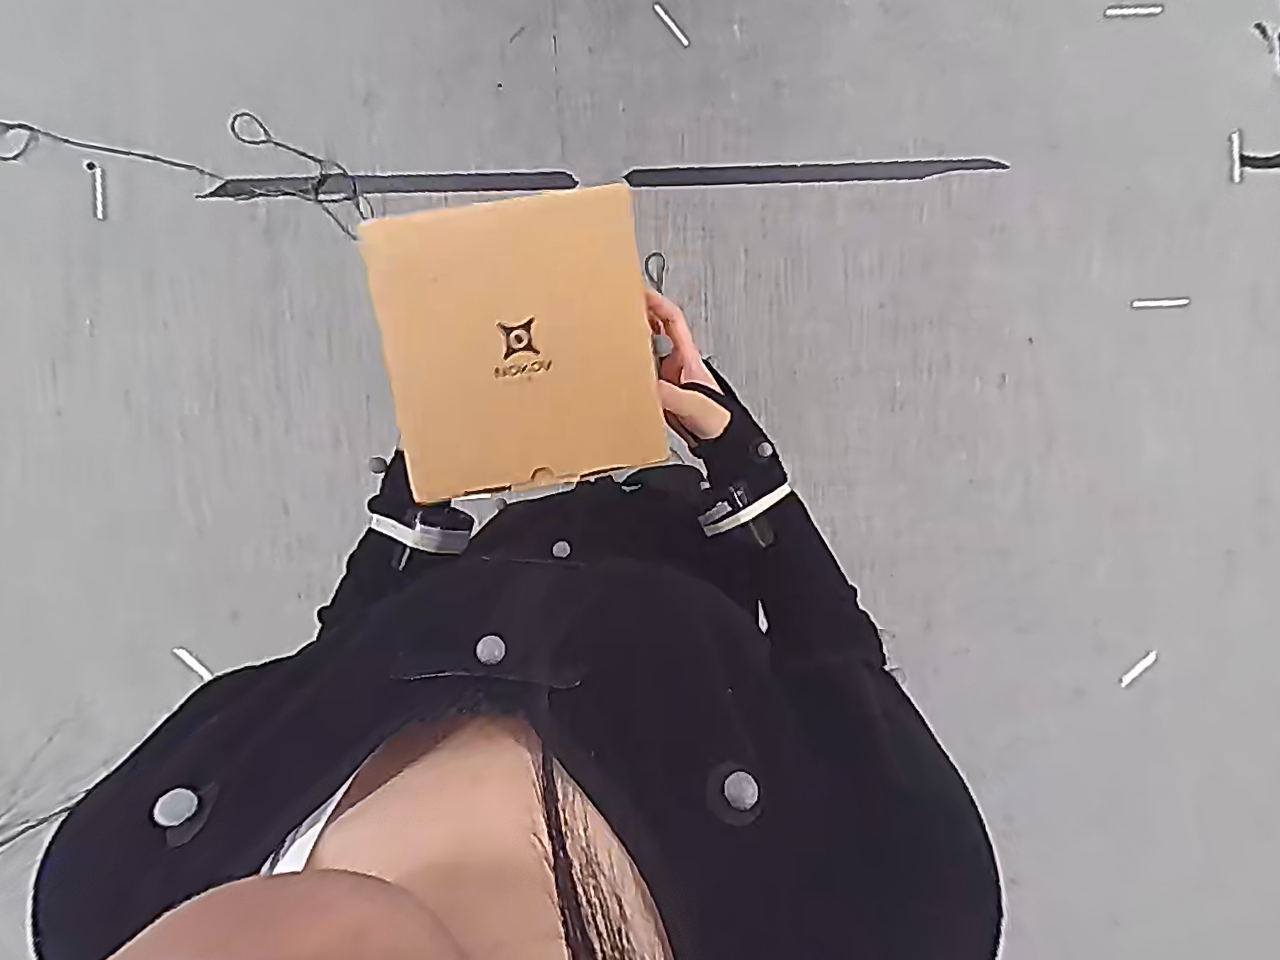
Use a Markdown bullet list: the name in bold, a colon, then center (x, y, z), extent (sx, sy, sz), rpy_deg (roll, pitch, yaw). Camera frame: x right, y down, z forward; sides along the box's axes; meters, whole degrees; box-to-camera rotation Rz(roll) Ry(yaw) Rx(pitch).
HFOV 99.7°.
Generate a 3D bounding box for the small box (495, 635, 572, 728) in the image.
- **small box**: center (-0.270, 0.516, 1.401), extent (0.168, 0.176, 0.179), rpy_deg (-3, 89, -1)

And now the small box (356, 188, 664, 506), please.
- **small box**: center (-0.082, -0.090, 0.416), extent (0.168, 0.176, 0.179), rpy_deg (-11, 98, -1)

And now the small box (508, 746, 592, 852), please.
- **small box**: center (-0.227, 0.821, 1.404), extent (0.179, 0.176, 0.168), rpy_deg (-8, 92, 0)
